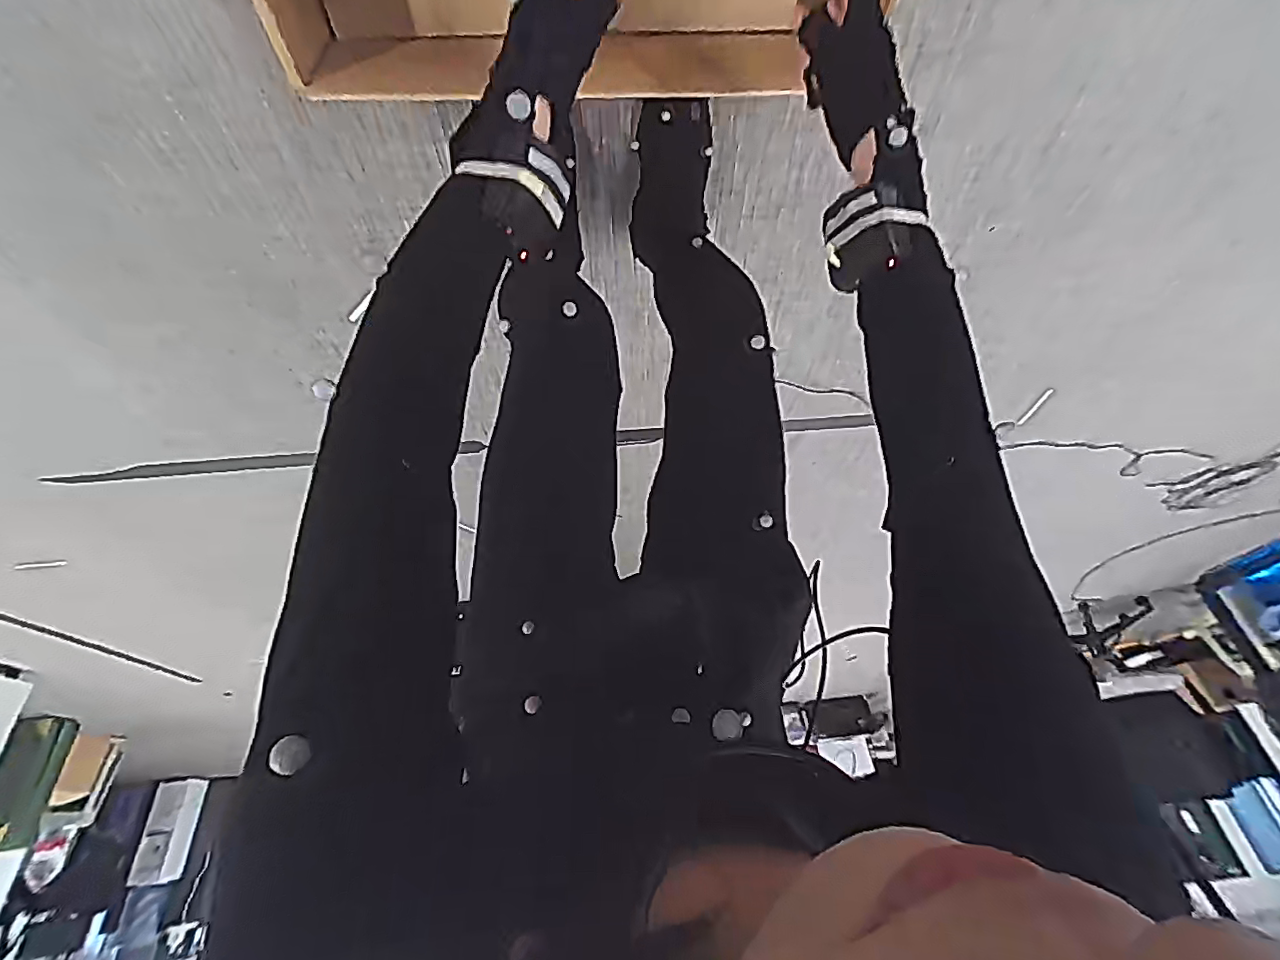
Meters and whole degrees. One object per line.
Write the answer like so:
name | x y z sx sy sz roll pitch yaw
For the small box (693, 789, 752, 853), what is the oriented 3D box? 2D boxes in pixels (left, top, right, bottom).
small box | 0.273 1.154 1.831 0.168 0.176 0.179 -7 146 1
